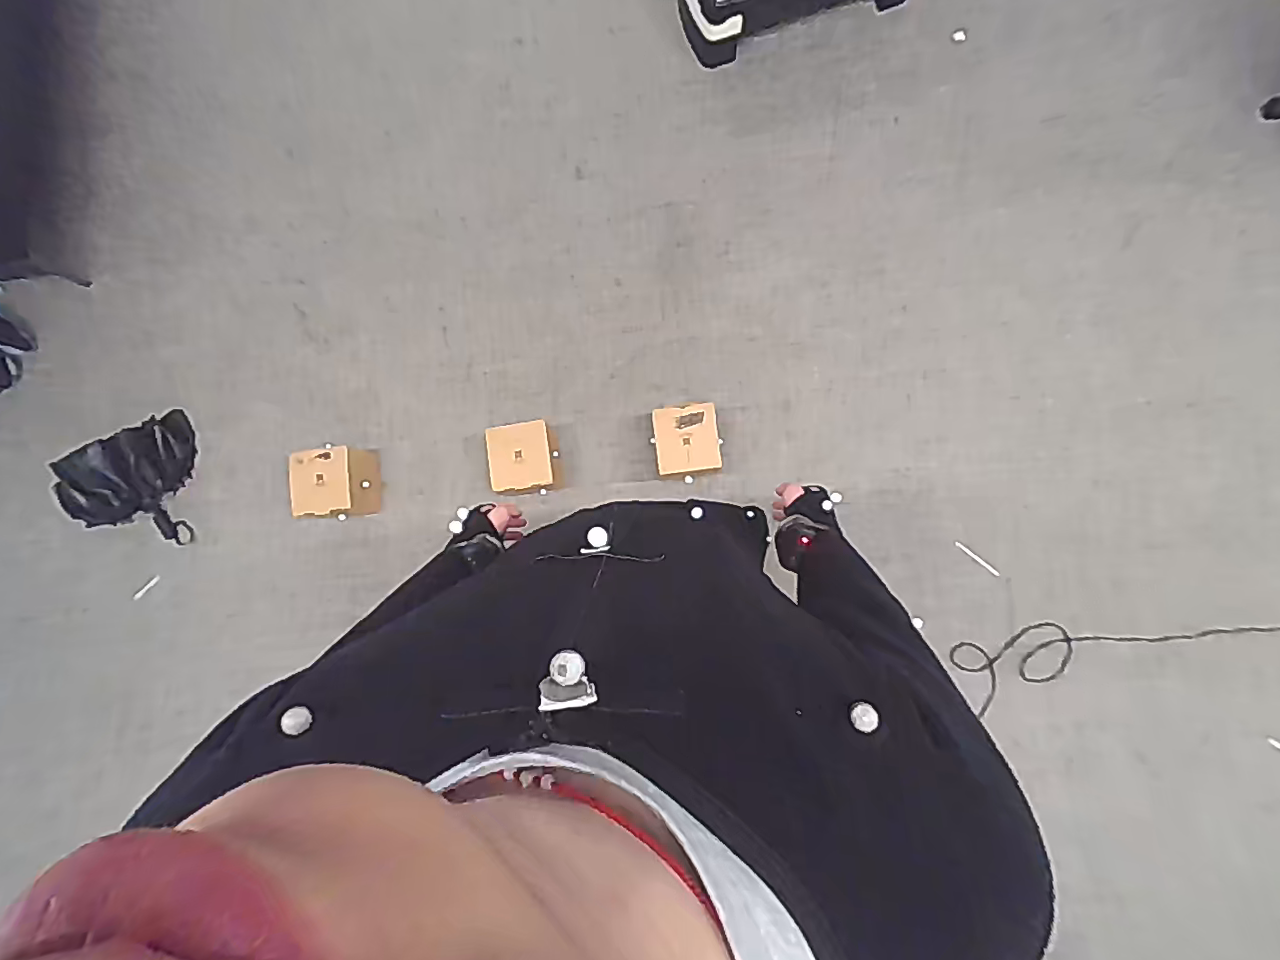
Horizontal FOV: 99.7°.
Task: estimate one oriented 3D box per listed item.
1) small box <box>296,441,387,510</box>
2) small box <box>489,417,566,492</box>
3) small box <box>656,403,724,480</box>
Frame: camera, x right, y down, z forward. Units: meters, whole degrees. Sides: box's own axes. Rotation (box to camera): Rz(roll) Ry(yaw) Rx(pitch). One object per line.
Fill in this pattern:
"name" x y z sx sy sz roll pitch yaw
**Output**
"small box" -0.847 -0.006 1.549 0.168 0.176 0.179 -7 84 3
"small box" -0.309 -0.064 1.517 0.168 0.176 0.179 -9 82 2
"small box" 0.135 -0.100 1.482 0.168 0.176 0.179 -6 84 5
